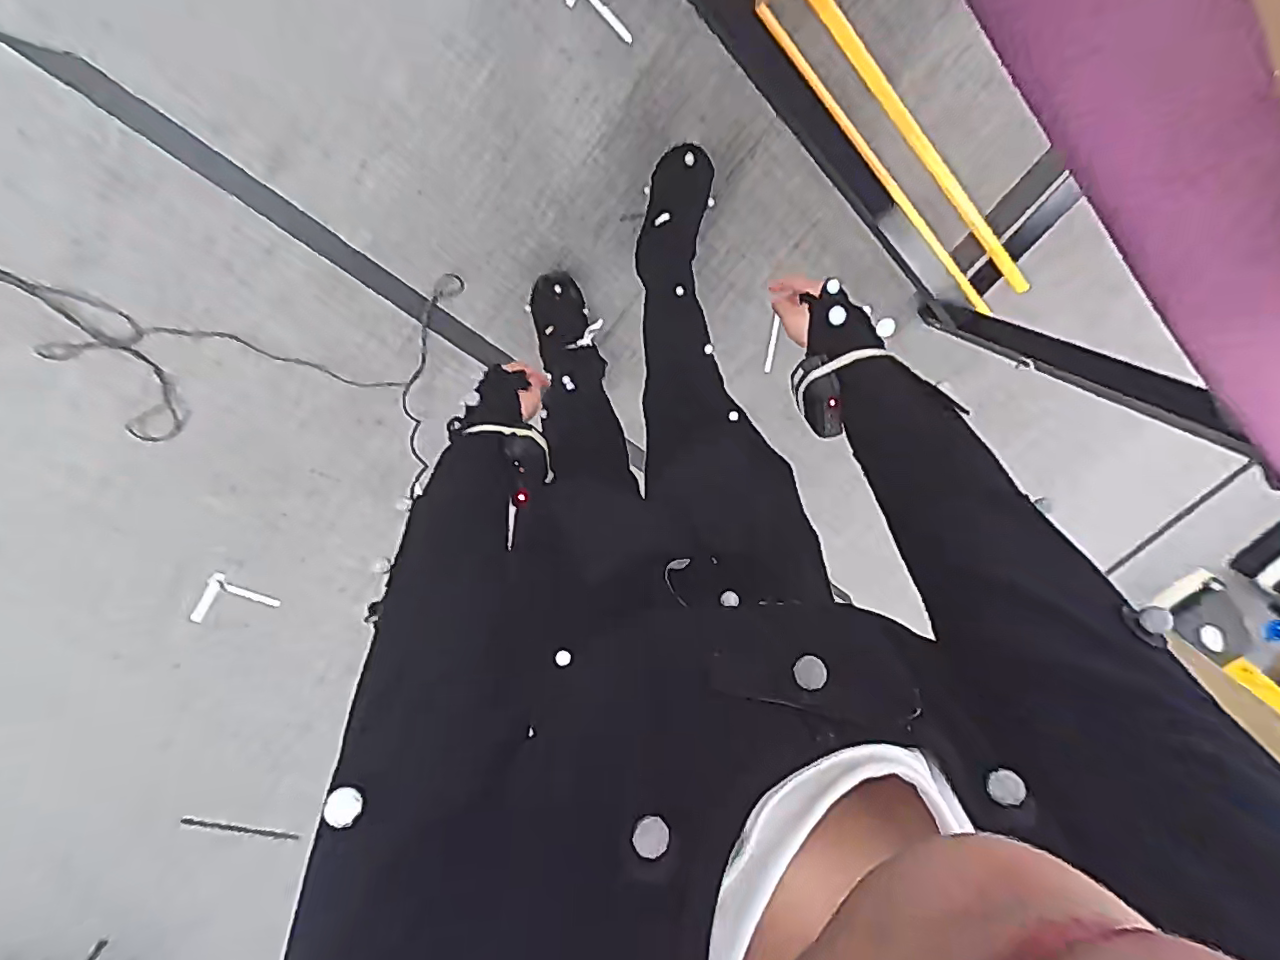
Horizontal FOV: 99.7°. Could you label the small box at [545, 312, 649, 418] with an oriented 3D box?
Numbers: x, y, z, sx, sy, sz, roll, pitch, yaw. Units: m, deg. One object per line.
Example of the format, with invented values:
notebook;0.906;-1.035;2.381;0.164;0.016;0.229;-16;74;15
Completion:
small box;-0.090;-0.235;1.098;0.179;0.176;0.168;-8;120;-11
